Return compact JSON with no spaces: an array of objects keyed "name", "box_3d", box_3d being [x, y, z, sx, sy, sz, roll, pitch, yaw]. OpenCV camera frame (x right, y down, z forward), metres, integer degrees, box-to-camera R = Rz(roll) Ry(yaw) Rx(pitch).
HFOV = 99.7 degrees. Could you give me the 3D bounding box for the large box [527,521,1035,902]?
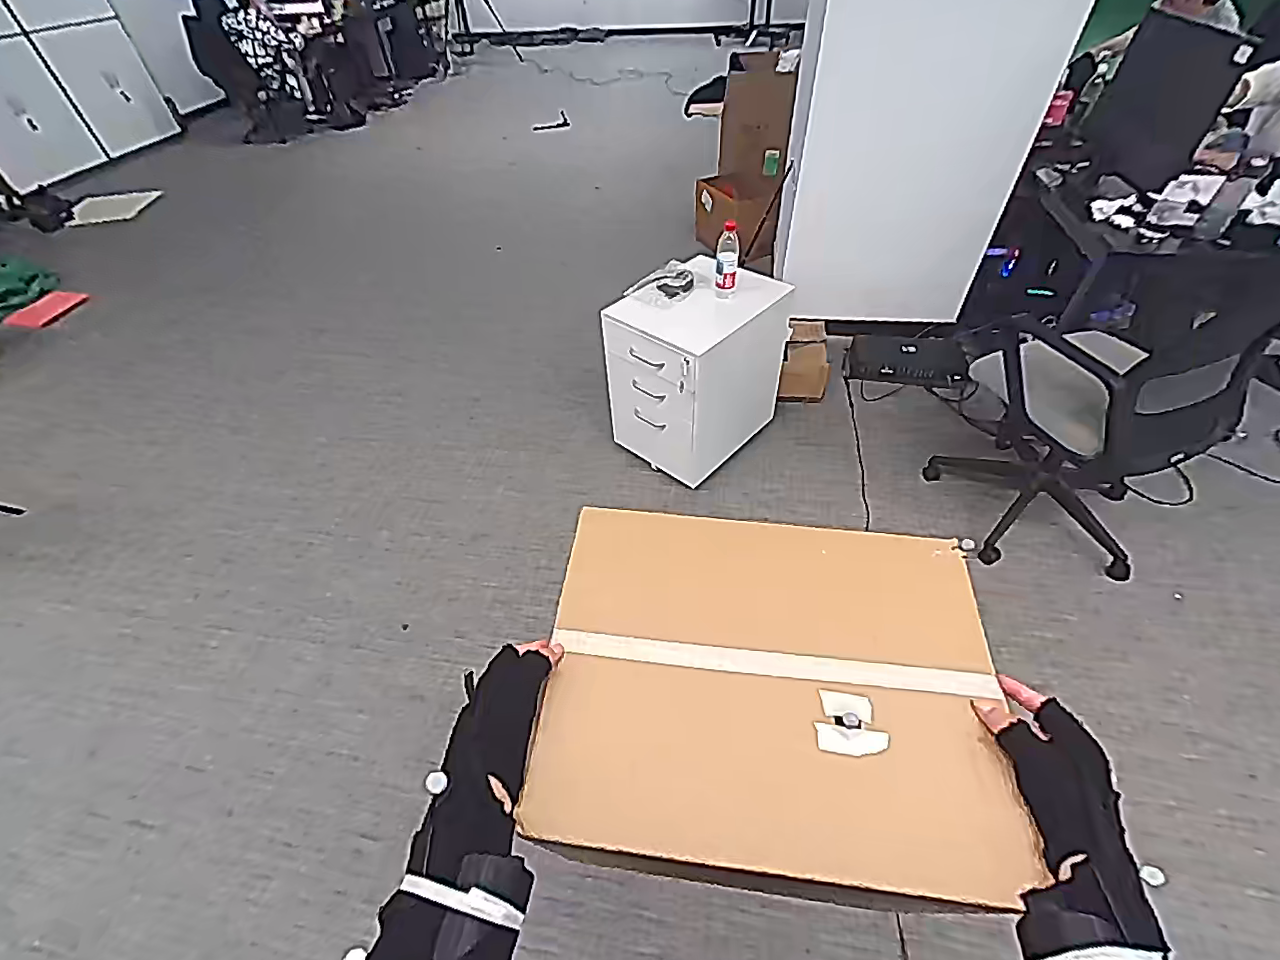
[{"name":"large box","box_3d":[0.120,0.271,0.629,0.408,0.320,0.320,5,53,5]}]
